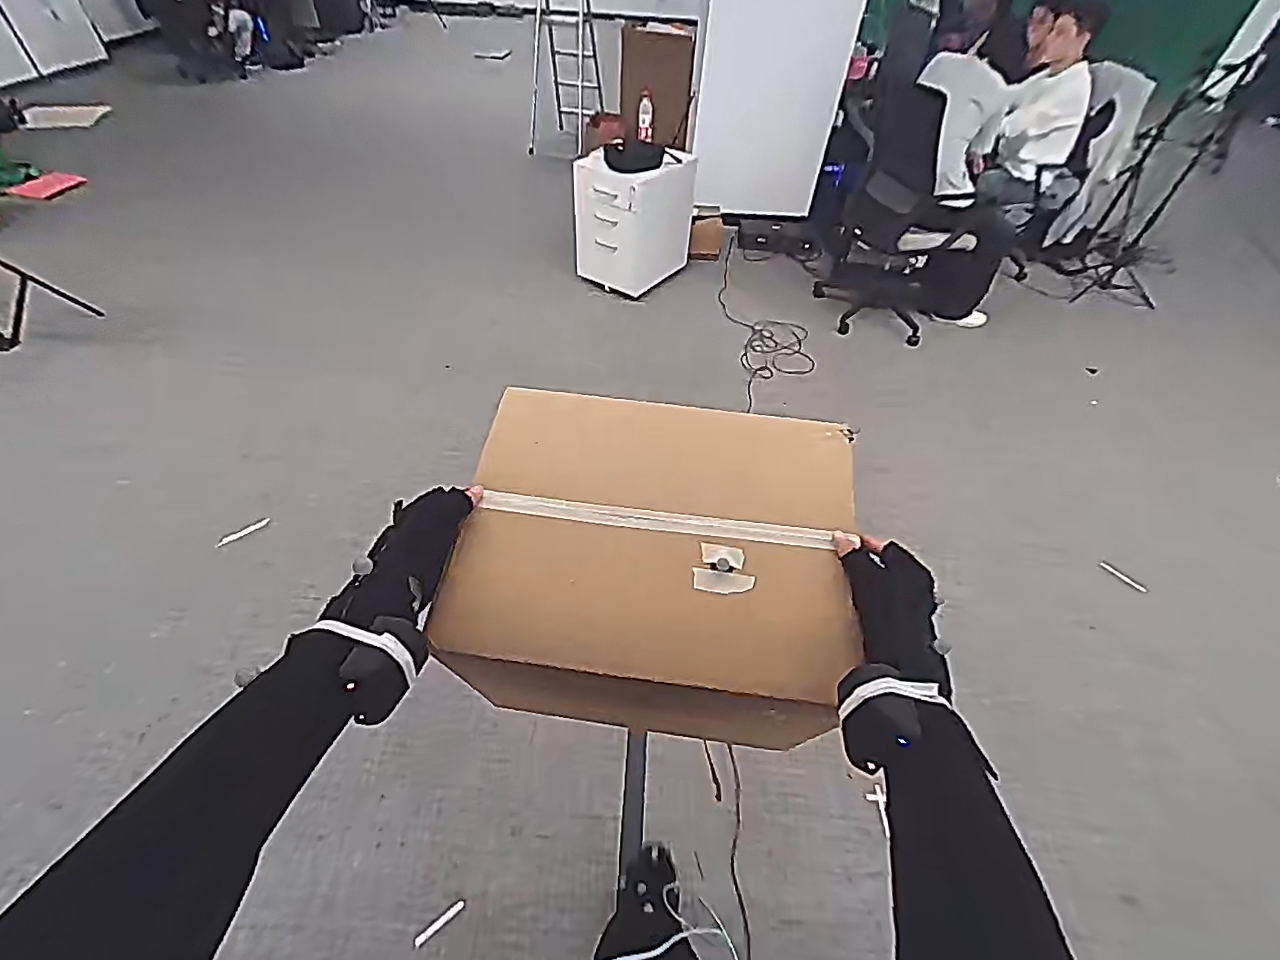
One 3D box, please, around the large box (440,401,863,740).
[{"bbox_3d":[0.019,0.129,0.701,0.408,0.320,0.320,7,58,3],"label":"large box"}]
